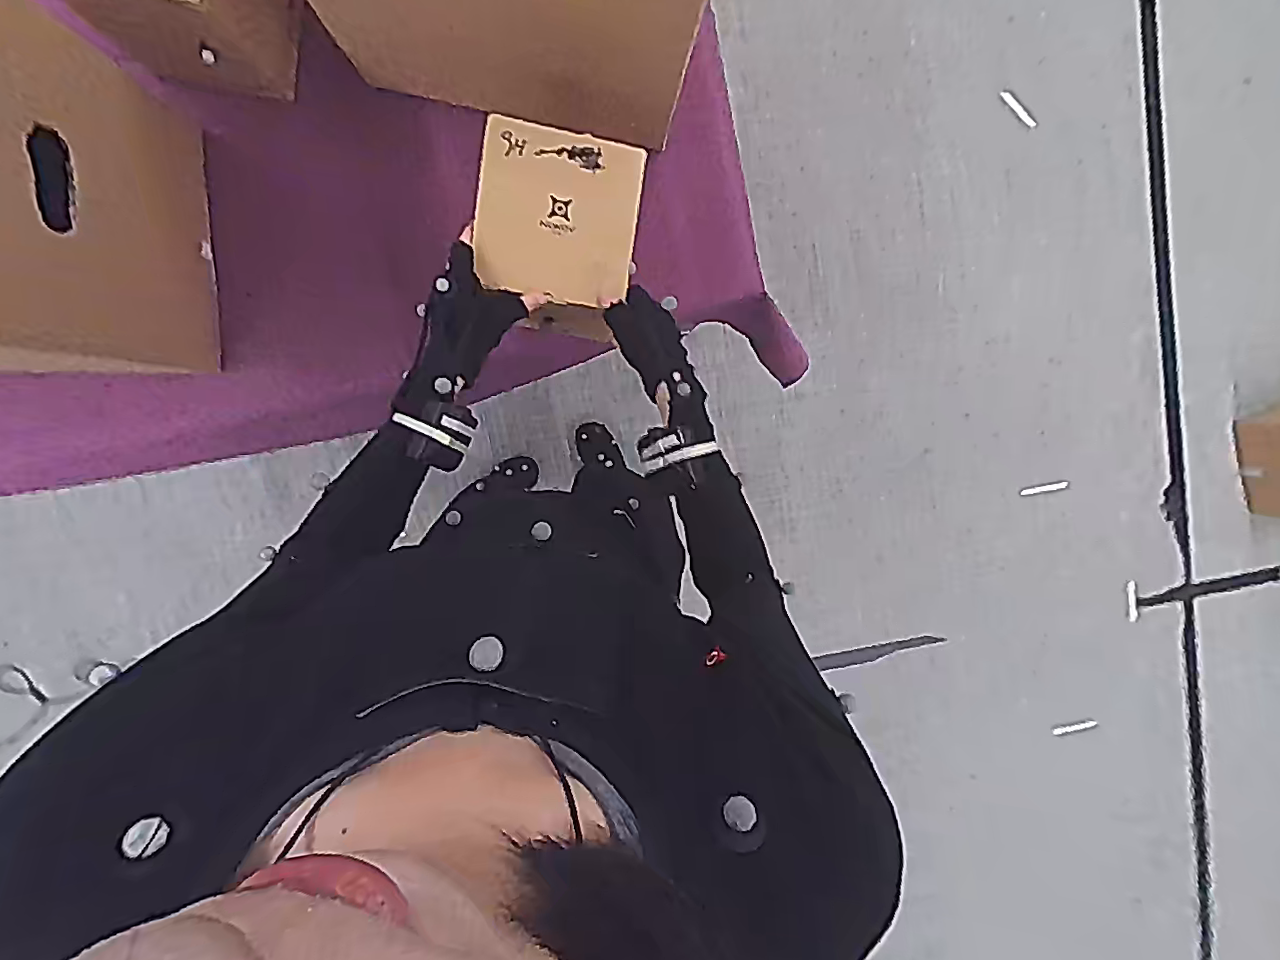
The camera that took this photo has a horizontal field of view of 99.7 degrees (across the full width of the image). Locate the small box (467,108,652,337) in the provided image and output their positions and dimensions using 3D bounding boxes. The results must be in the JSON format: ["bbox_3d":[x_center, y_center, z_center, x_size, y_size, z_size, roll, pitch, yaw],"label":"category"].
[{"bbox_3d":[-0.092,-0.277,0.629,0.168,0.176,0.179,10,93,-9],"label":"small box"}]
